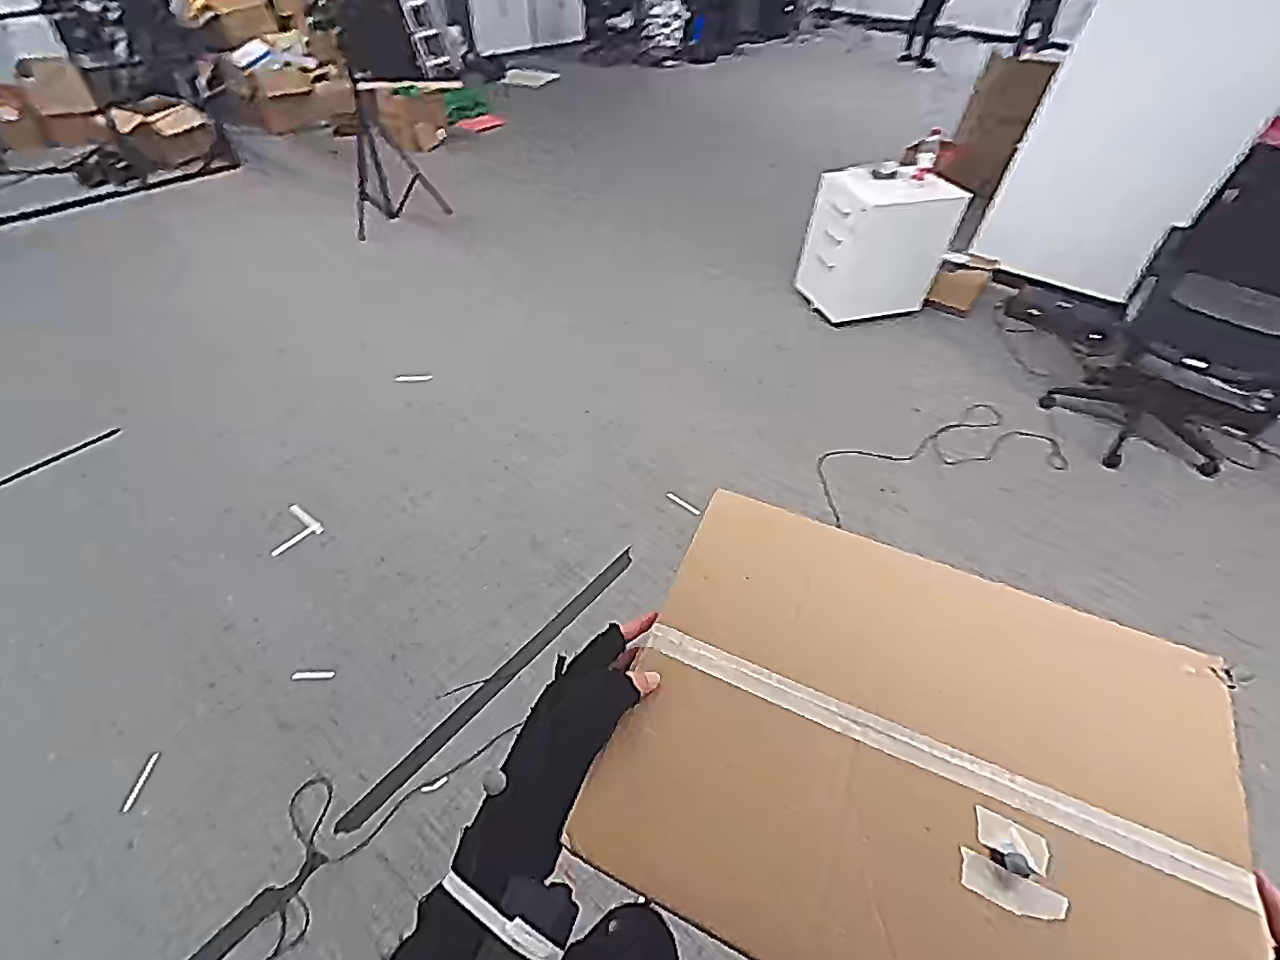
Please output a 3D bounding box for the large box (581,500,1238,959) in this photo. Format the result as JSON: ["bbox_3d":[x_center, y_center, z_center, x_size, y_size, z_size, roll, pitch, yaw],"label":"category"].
[{"bbox_3d":[0.202,0.277,0.523,0.408,0.320,0.320,19,59,16],"label":"large box"}]
